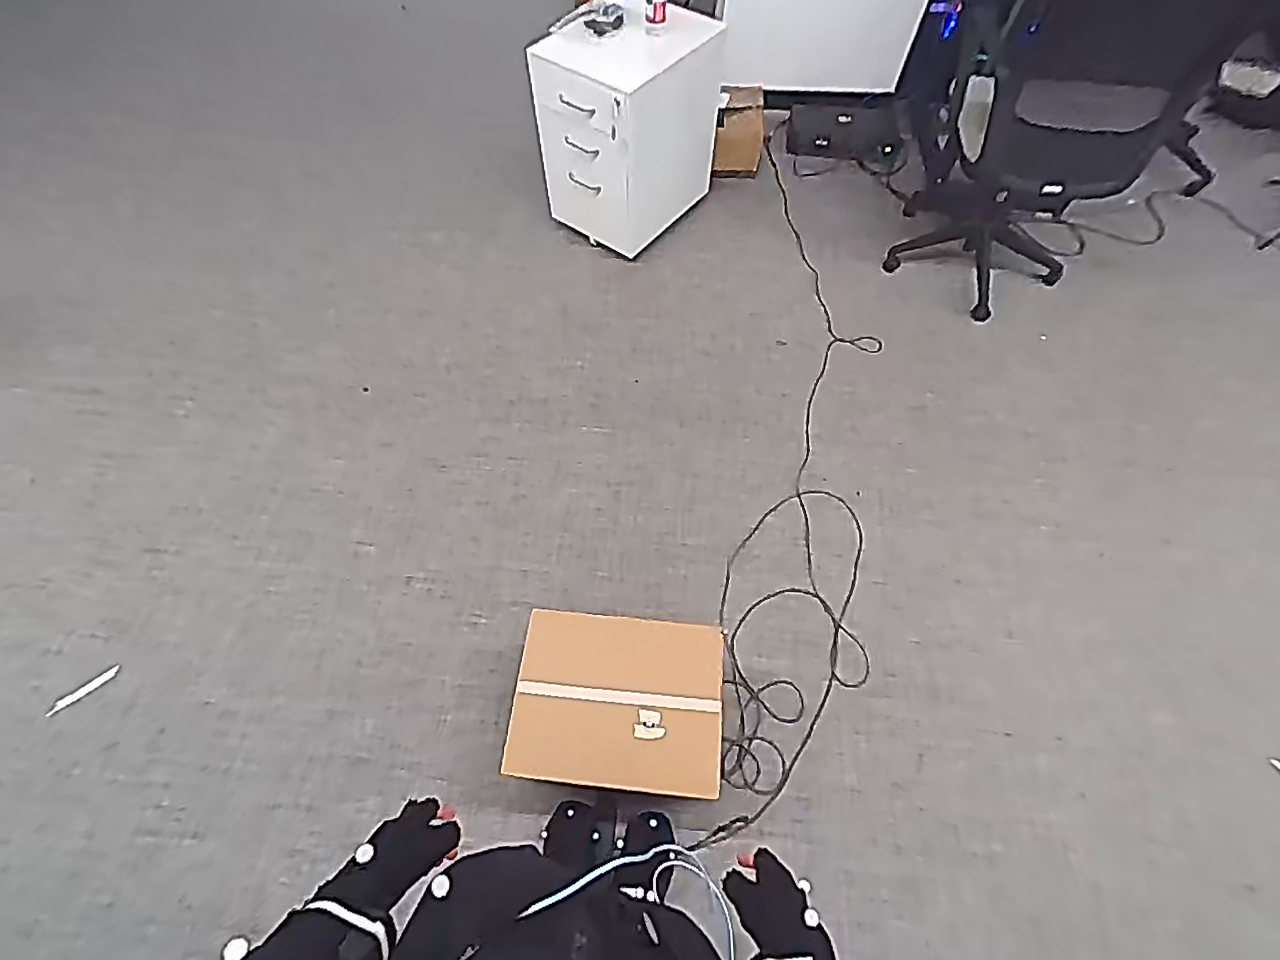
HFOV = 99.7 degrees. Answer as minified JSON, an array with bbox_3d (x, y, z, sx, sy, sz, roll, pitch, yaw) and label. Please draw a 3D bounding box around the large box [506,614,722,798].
[{"bbox_3d":[-0.043,0.505,1.194,0.408,0.320,0.320,5,61,3],"label":"large box"}]
